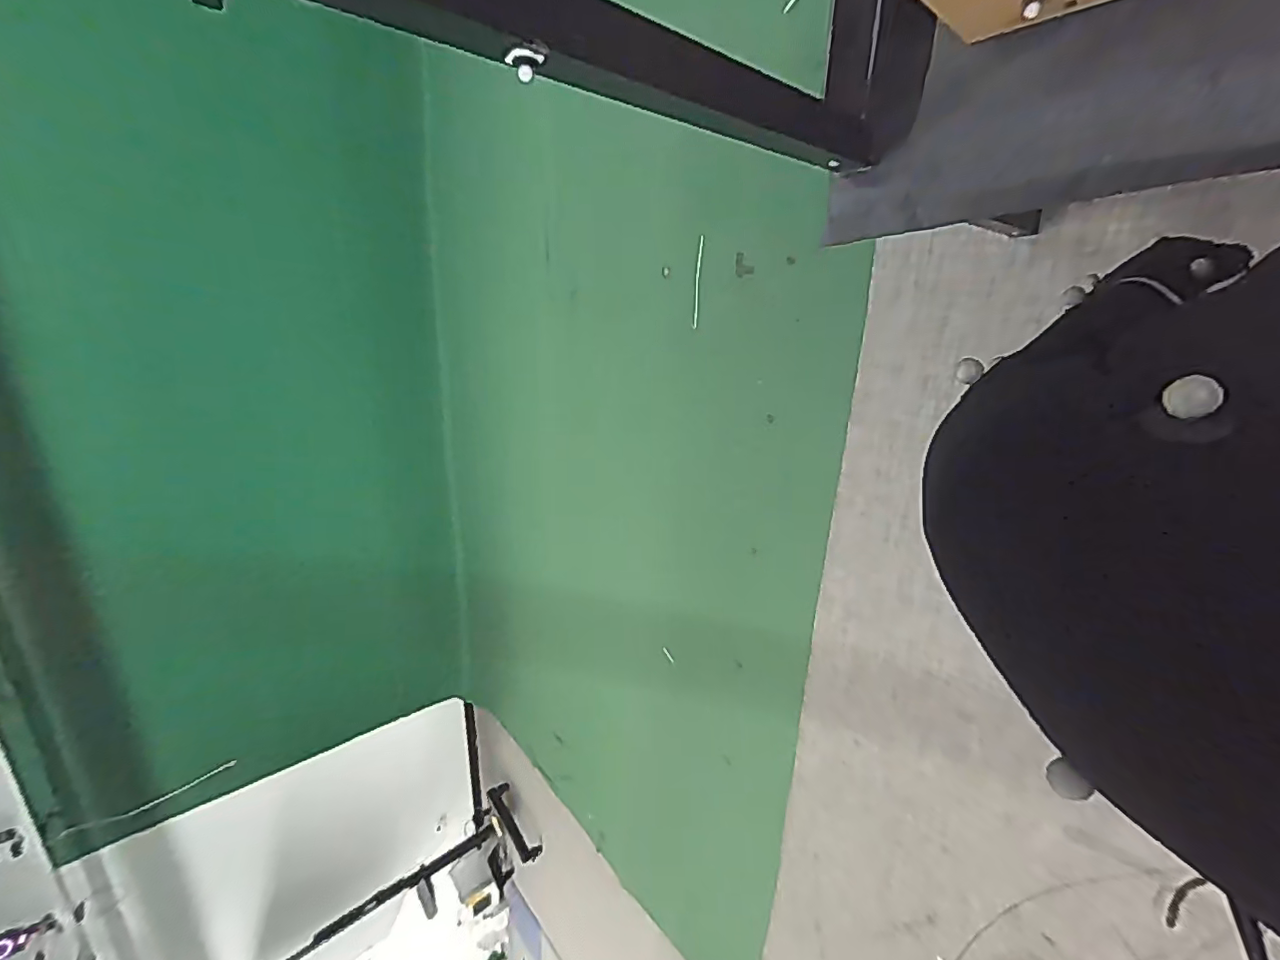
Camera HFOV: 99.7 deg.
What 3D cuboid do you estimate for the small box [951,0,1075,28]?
[{"bbox_3d":[0.383,-0.575,0.502,0.168,0.176,0.179,21,116,45],"label":"small box"}]
